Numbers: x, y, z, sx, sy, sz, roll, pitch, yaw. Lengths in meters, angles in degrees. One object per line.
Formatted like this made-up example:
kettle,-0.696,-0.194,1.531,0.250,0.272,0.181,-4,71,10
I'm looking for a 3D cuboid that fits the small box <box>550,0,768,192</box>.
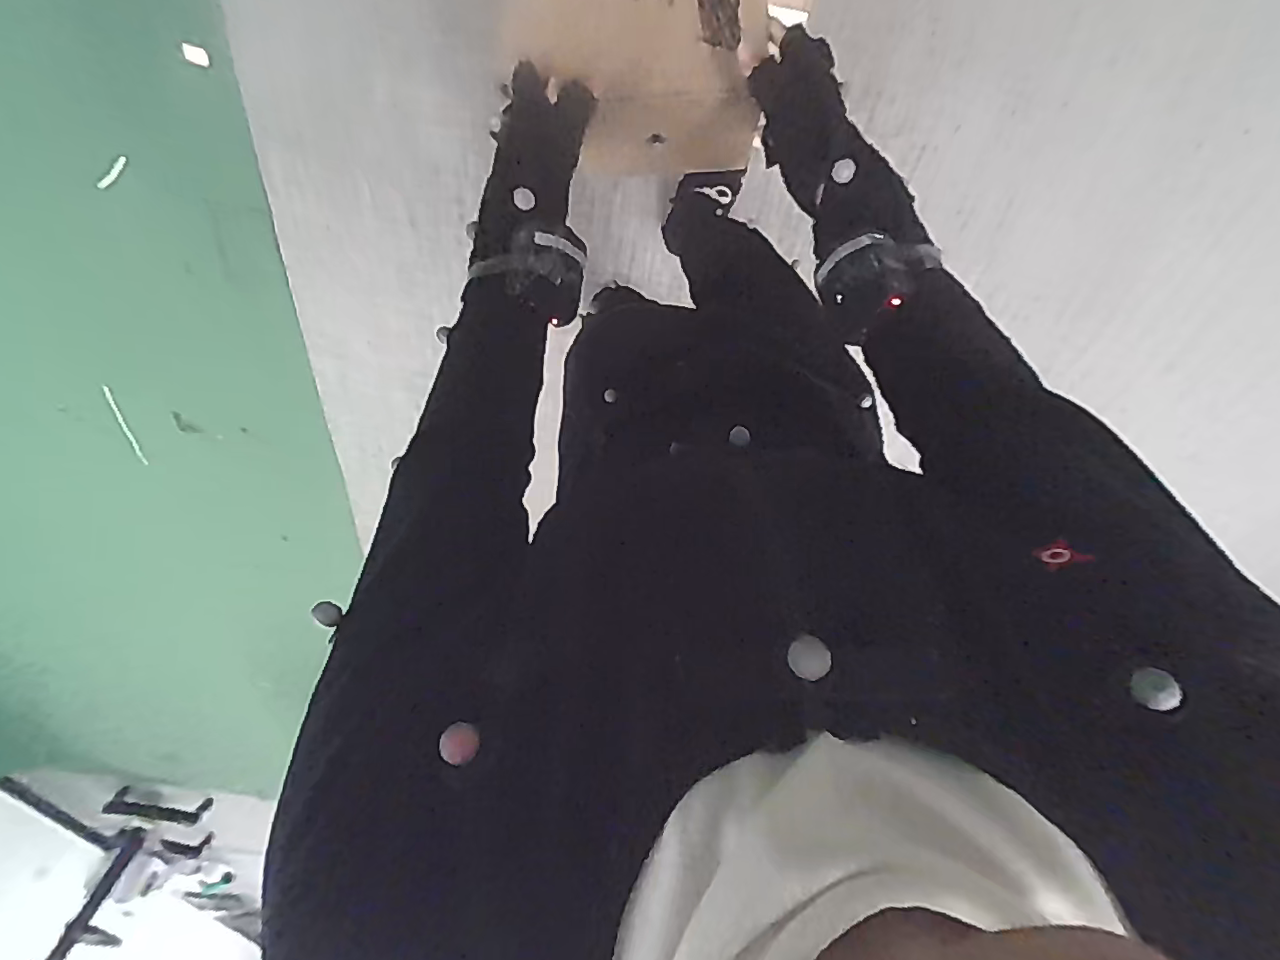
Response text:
small box,0.021,-0.392,0.510,0.179,0.176,0.168,-2,99,7
